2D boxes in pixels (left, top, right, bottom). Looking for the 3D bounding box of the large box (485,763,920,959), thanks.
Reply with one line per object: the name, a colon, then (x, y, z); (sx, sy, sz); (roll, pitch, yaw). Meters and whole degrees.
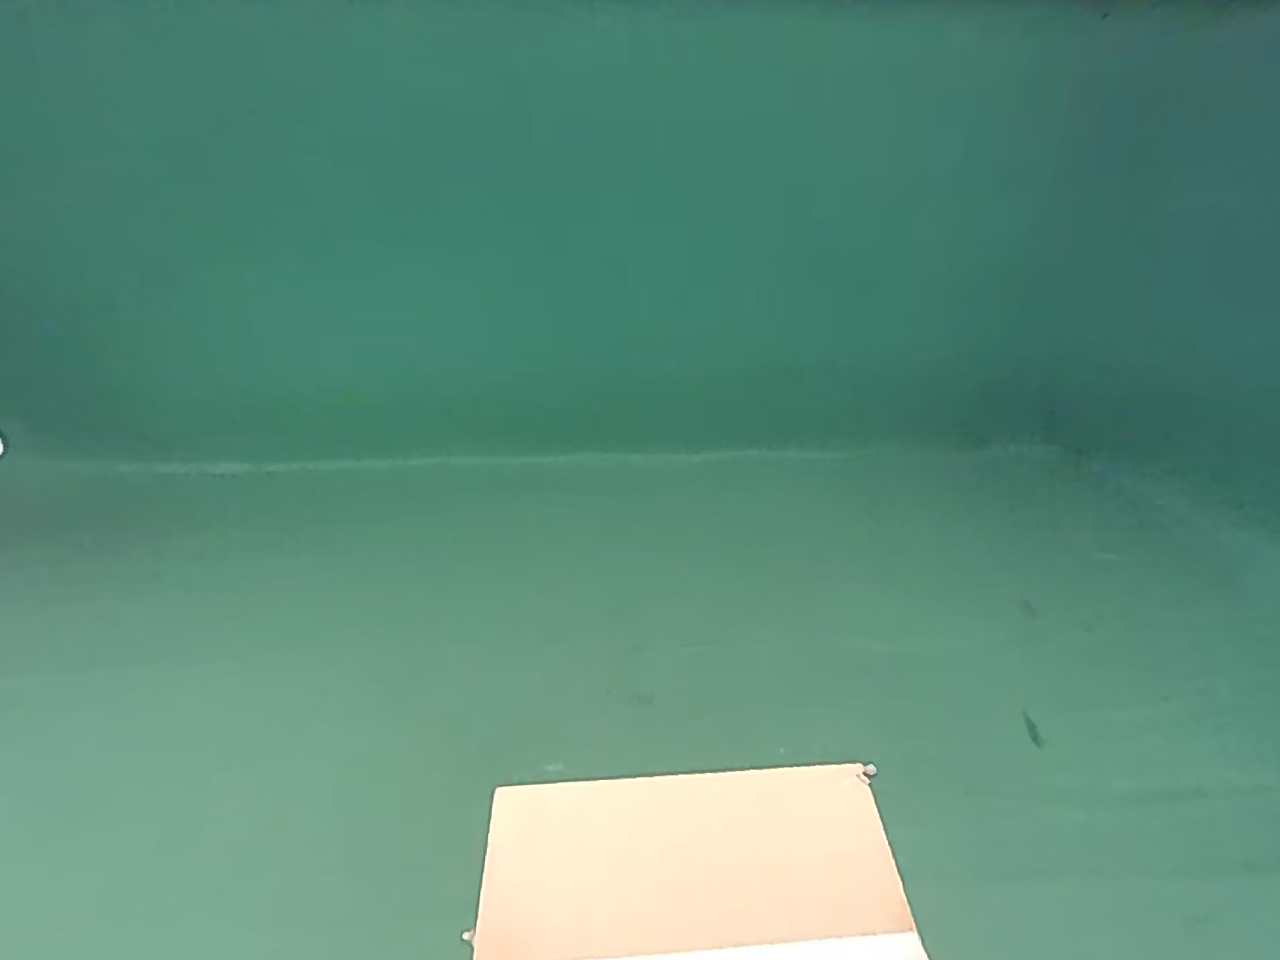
large box: (0.056, 0.544, 0.591); (0.408, 0.320, 0.320); (-3, 45, -3)
